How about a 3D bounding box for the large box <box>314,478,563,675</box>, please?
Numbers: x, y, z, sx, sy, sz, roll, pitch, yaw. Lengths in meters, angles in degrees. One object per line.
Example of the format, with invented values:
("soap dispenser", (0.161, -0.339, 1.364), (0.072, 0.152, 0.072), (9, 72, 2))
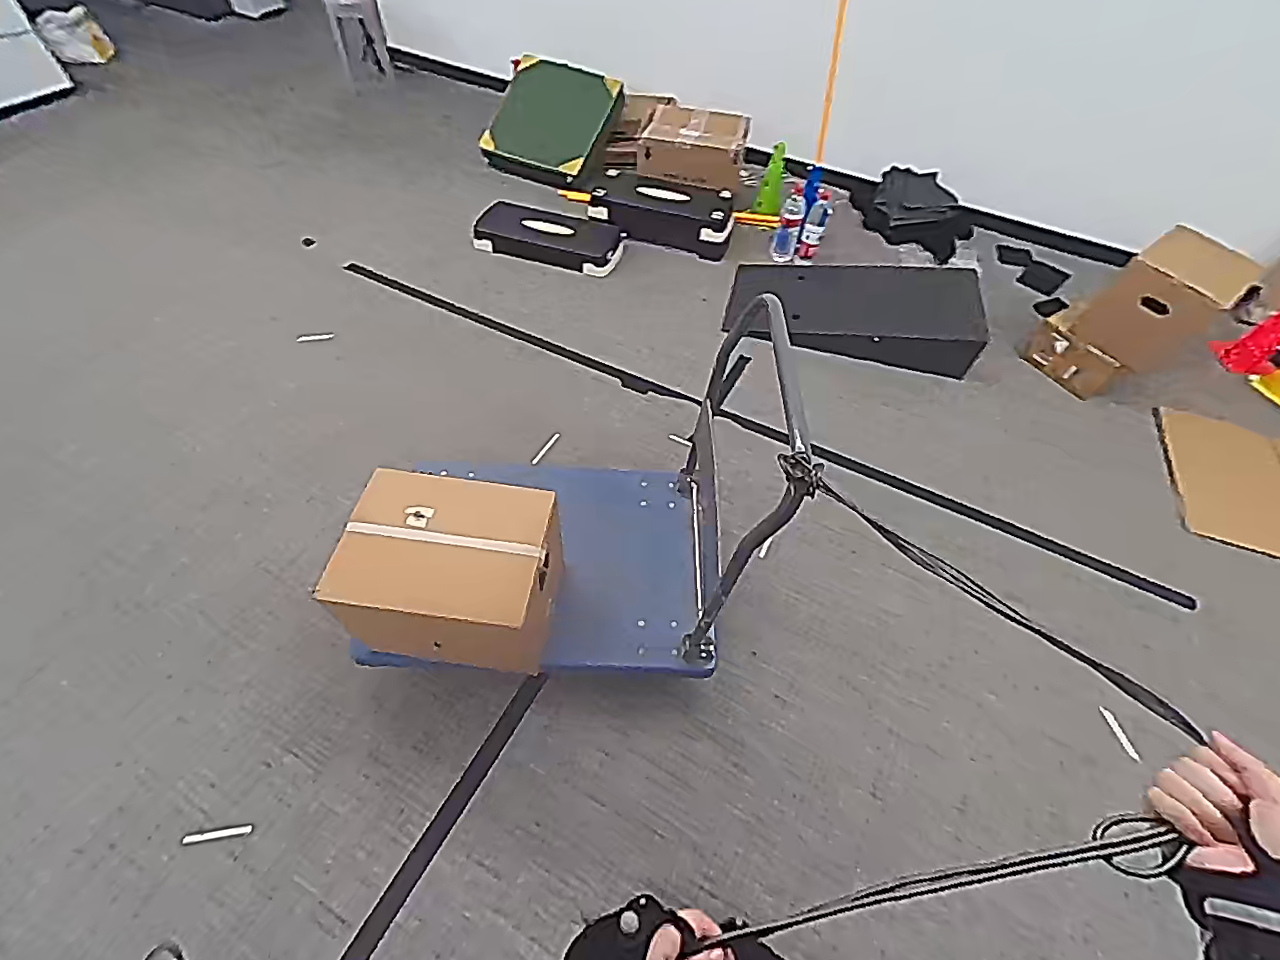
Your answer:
("large box", (-0.404, 0.224, 1.211), (0.408, 0.320, 0.320), (7, 53, 2))
